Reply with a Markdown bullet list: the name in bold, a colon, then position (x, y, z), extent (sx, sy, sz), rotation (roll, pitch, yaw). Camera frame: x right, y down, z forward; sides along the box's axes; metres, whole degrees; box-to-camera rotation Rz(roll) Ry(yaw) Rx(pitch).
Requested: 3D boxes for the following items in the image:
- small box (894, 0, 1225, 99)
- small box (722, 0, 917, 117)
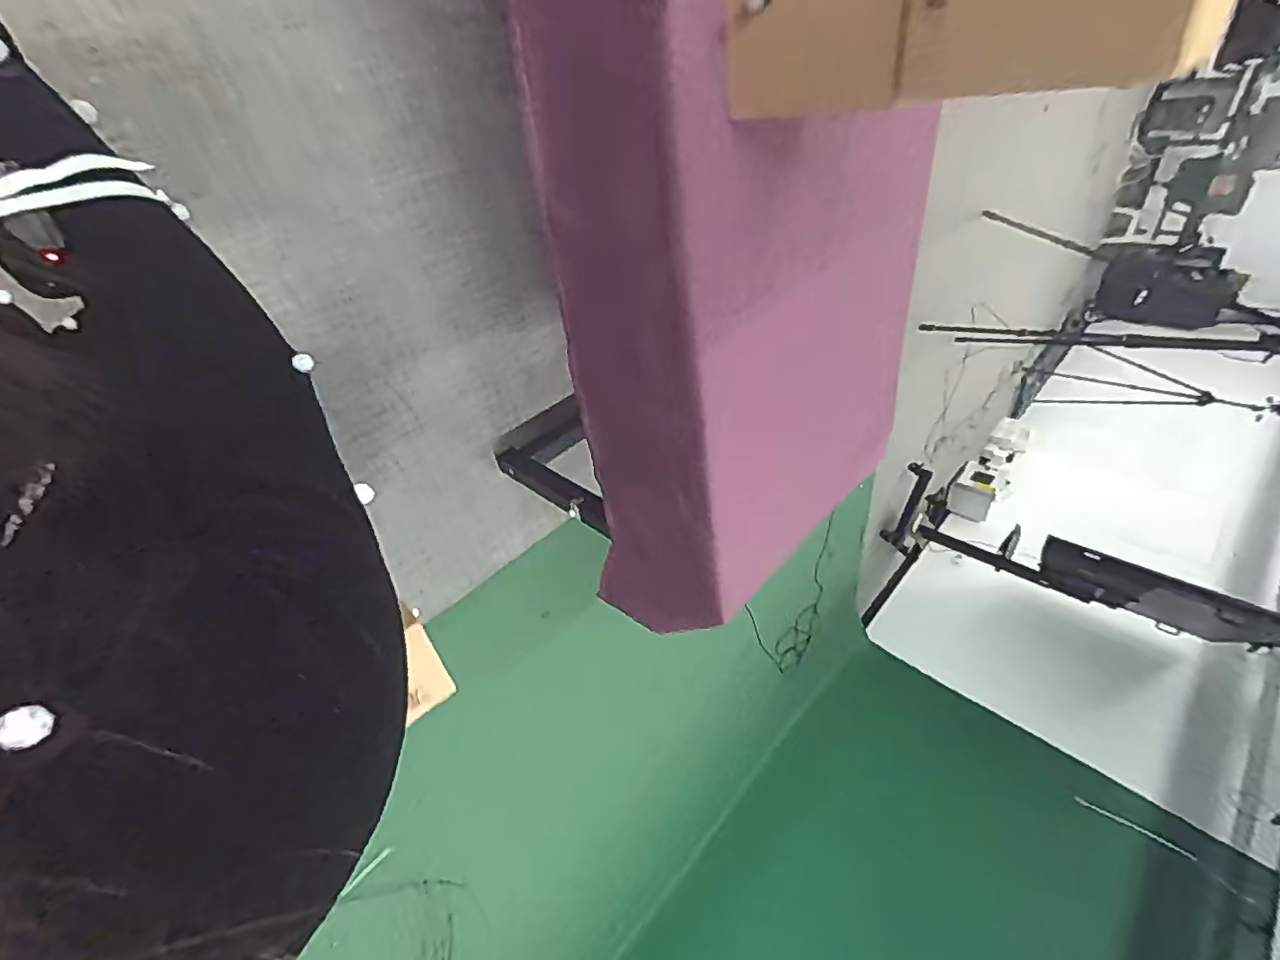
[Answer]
- **small box**: position (0.304, -0.377, 0.370), extent (0.179, 0.176, 0.168), rotation (-37, 135, -29)
- **small box**: position (0.183, -0.434, 0.469), extent (0.168, 0.176, 0.179), rotation (-39, 137, -29)
